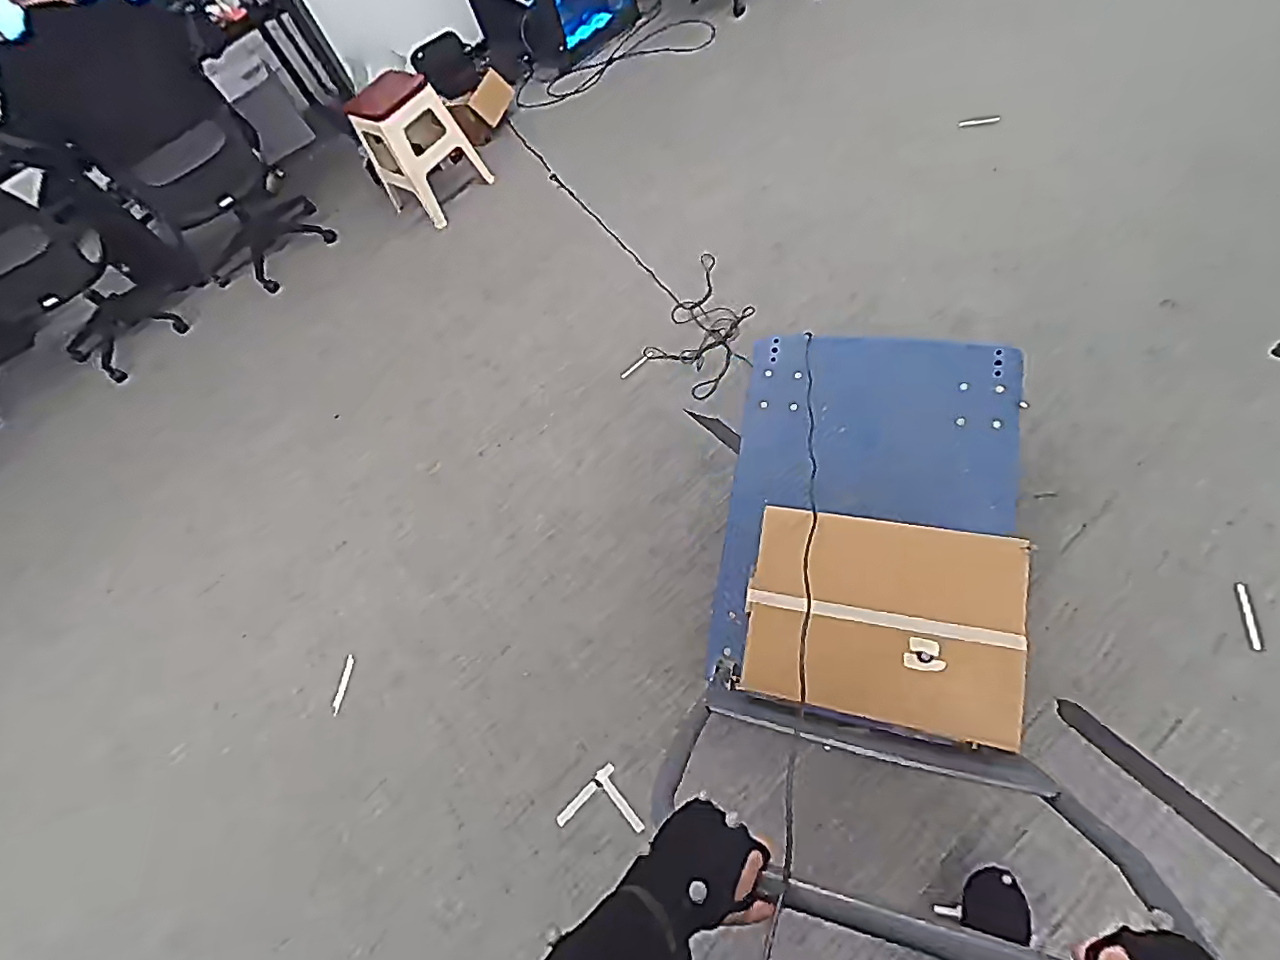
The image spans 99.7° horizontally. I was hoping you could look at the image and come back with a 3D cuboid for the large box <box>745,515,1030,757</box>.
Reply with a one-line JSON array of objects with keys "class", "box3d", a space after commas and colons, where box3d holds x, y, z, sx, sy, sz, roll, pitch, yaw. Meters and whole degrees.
[{"class": "large box", "box3d": [0.418, 0.263, 0.997, 0.408, 0.320, 0.320, 8, 81, 16]}]
